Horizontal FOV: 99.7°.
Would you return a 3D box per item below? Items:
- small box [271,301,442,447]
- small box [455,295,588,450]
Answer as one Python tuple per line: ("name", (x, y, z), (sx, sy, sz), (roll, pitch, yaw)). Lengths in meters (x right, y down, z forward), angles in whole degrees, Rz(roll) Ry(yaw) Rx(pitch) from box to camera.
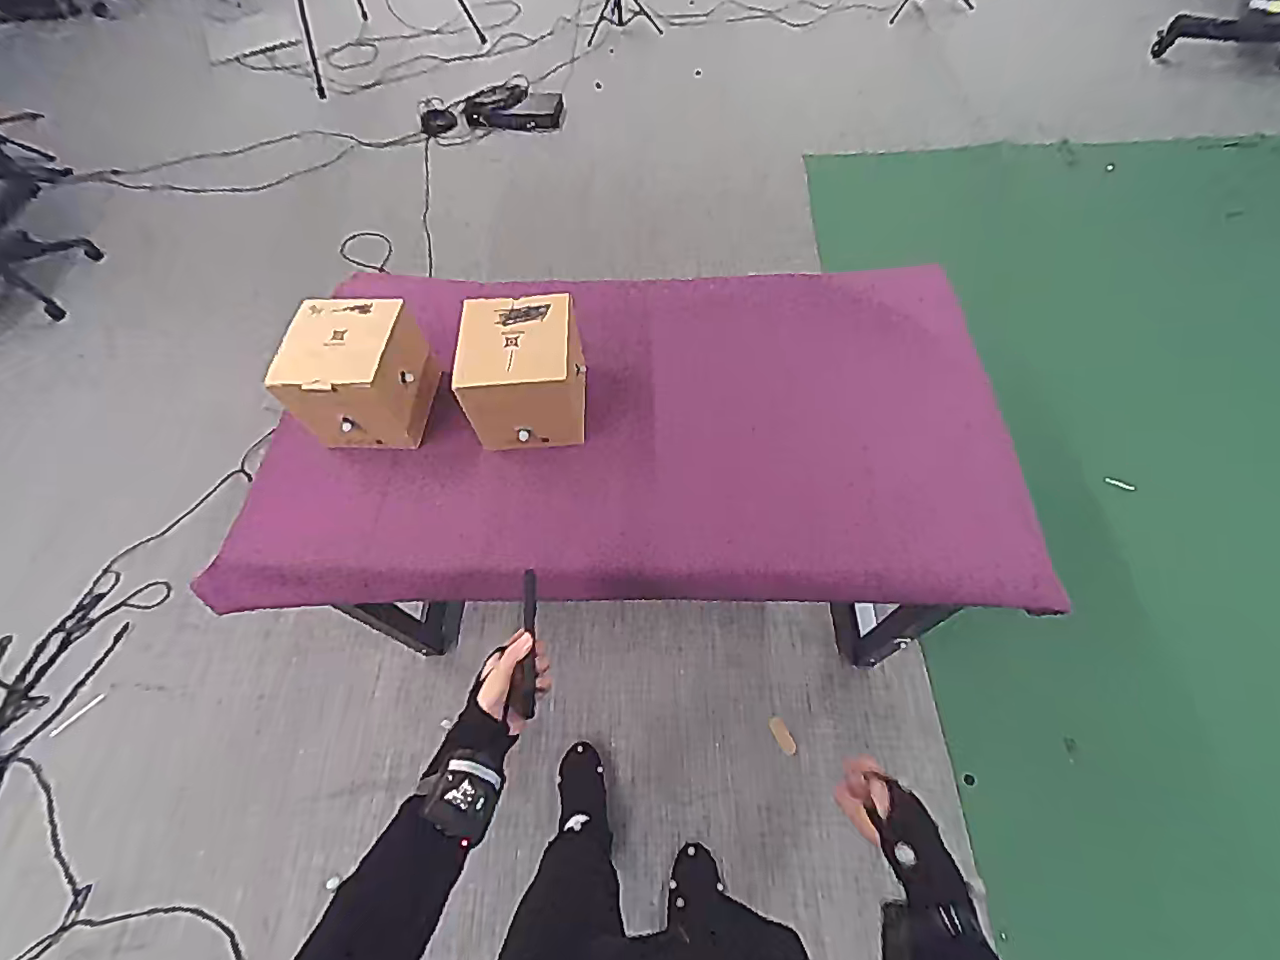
("small box", (-0.445, -0.167, 0.885), (0.168, 0.176, 0.179), (1, 61, 5))
("small box", (-0.178, -0.168, 0.866), (0.168, 0.176, 0.179), (-4, 60, 2))
